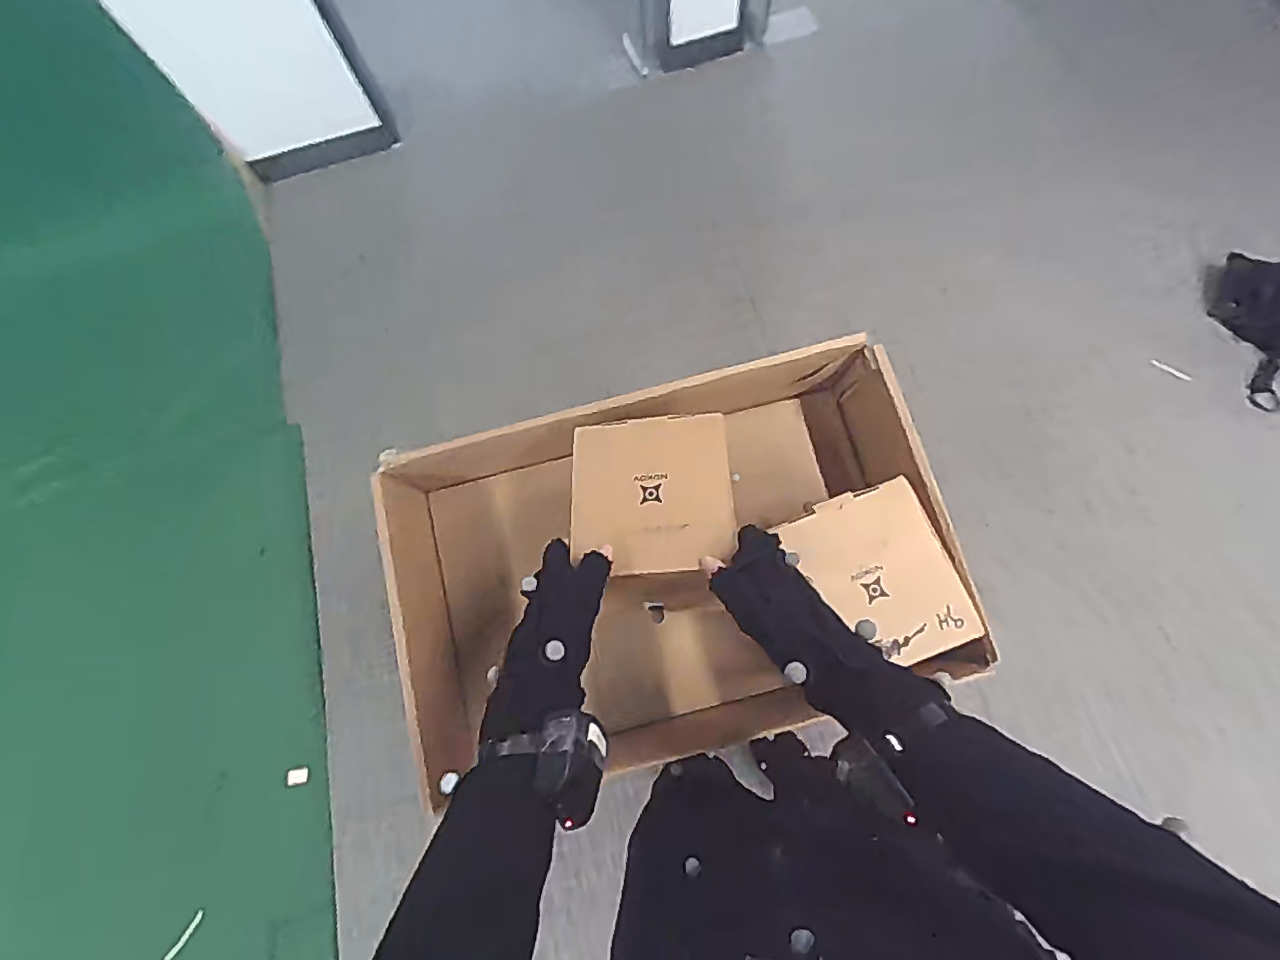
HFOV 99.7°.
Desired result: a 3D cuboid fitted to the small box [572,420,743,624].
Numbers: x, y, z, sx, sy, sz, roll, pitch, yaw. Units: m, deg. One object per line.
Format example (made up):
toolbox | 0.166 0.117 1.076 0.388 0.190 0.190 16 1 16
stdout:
small box | 0.024 0.055 0.620 0.168 0.176 0.179 -6 61 6
